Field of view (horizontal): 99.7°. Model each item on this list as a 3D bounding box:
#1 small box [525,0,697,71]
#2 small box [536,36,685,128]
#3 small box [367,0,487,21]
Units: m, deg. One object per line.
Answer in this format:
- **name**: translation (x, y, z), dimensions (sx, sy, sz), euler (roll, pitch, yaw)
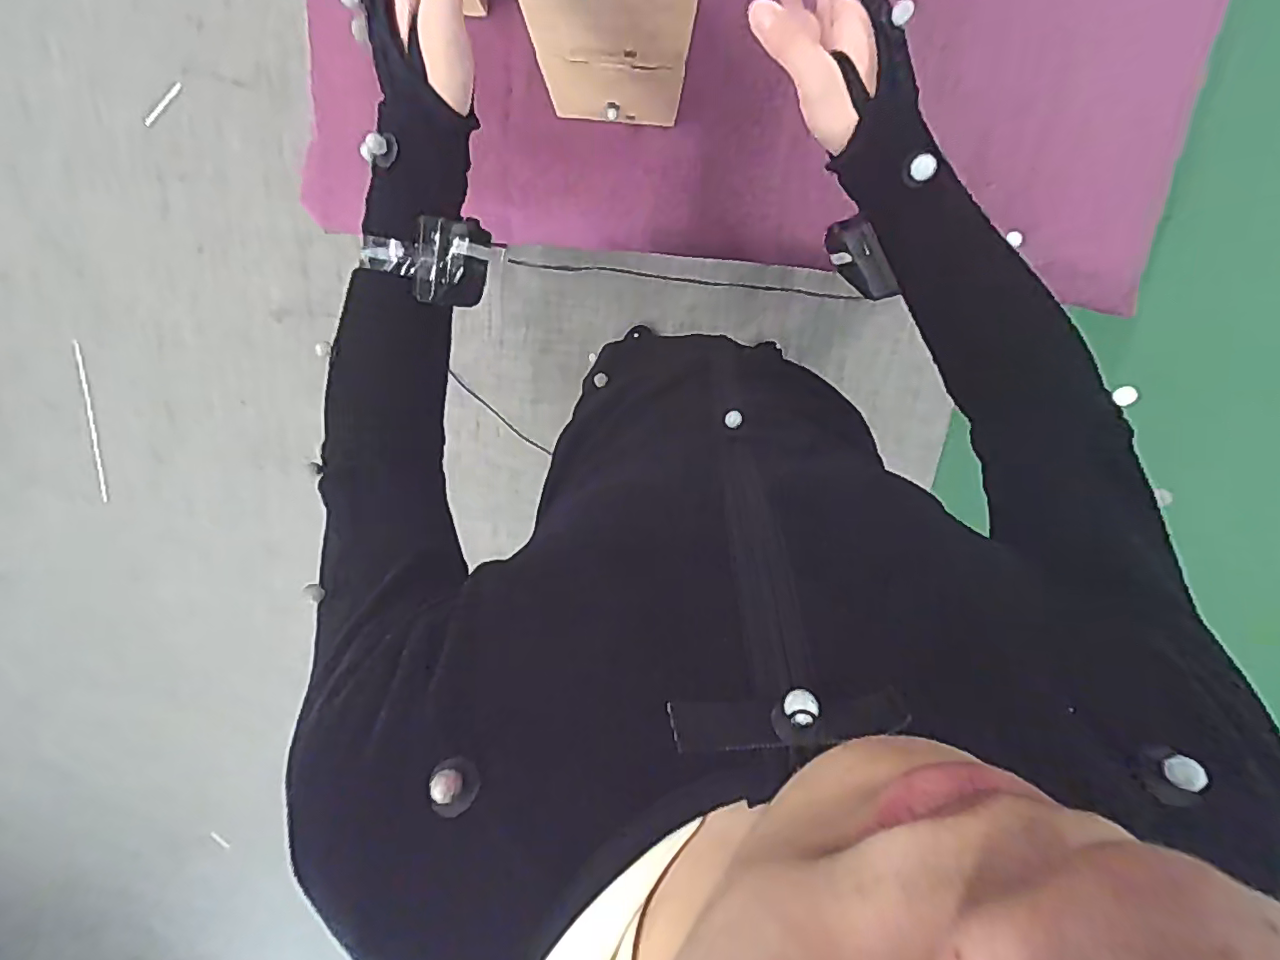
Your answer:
- **small box**: translation (-0.025, -0.520, 0.494), dimensions (0.168, 0.176, 0.179), euler (4, 105, -1)
- **small box**: translation (-0.027, -0.561, 0.652), dimensions (0.168, 0.176, 0.179), euler (4, 105, -1)
- **small box**: translation (-0.278, -0.679, 0.618), dimensions (0.168, 0.176, 0.179), euler (3, 106, -1)
